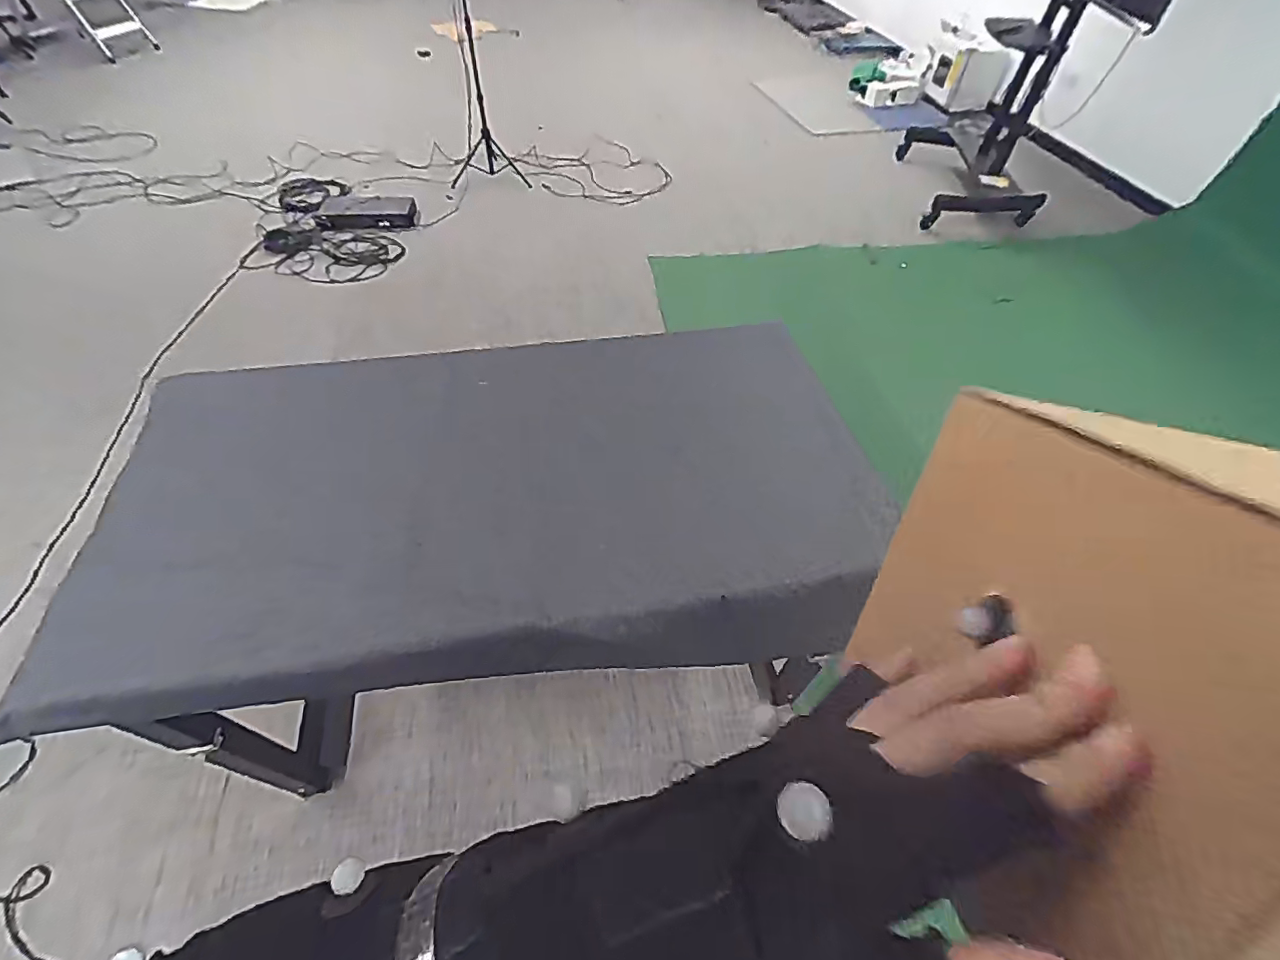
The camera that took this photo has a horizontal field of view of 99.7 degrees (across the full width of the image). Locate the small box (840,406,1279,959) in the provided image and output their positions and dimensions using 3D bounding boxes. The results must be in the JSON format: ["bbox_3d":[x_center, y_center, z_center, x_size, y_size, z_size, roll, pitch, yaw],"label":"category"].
[{"bbox_3d":[0.204,0.089,0.205,0.168,0.176,0.179,12,22,-5],"label":"small box"}]
